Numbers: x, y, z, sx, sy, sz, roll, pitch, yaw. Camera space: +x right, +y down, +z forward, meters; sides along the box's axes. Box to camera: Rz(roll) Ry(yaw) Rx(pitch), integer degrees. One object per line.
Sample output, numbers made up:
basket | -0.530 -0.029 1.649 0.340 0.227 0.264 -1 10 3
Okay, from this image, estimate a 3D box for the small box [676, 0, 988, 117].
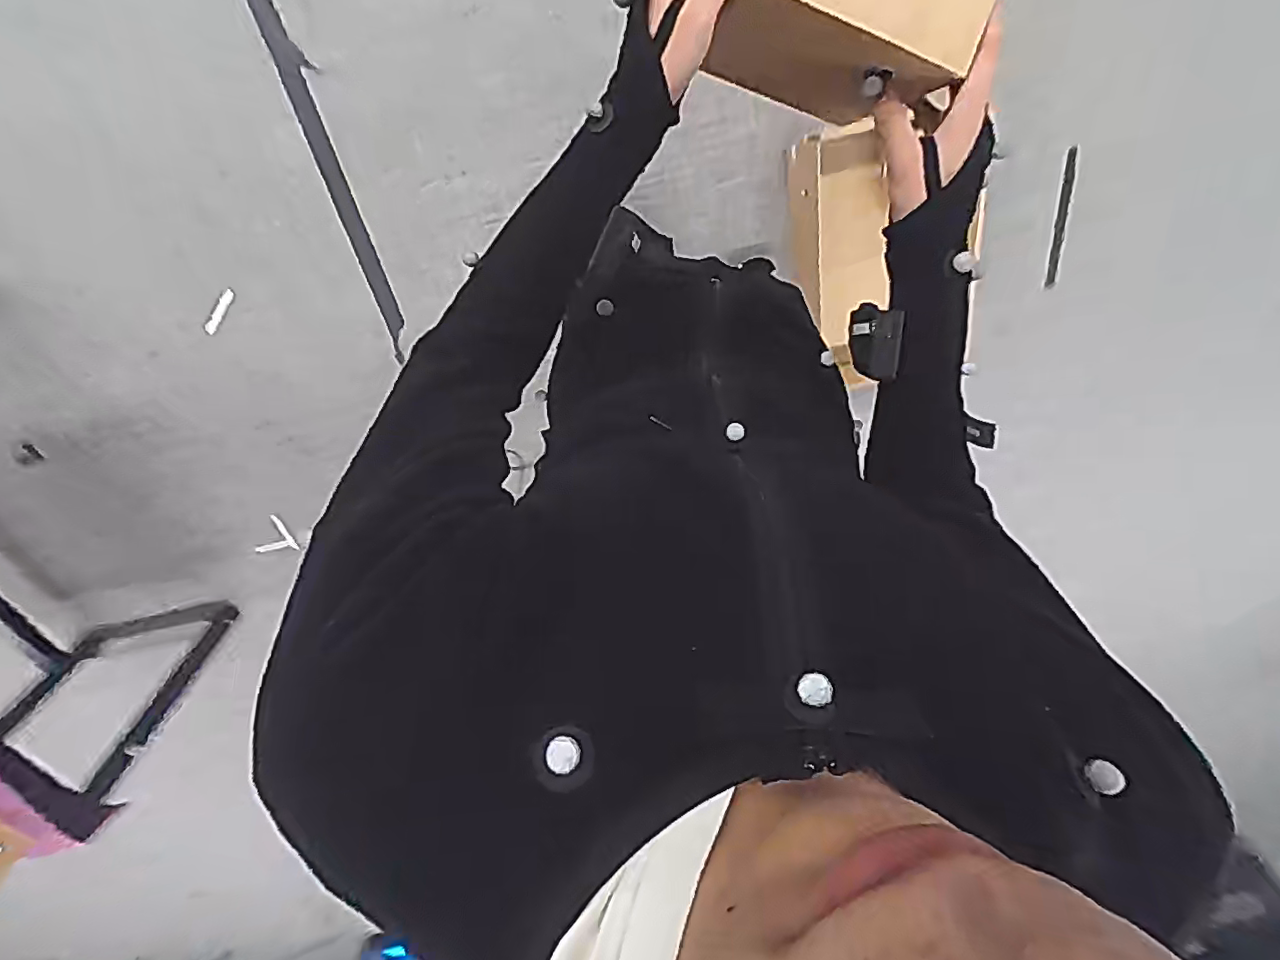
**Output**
small box | 0.146 -0.400 0.404 0.179 0.176 0.168 9 110 -15
